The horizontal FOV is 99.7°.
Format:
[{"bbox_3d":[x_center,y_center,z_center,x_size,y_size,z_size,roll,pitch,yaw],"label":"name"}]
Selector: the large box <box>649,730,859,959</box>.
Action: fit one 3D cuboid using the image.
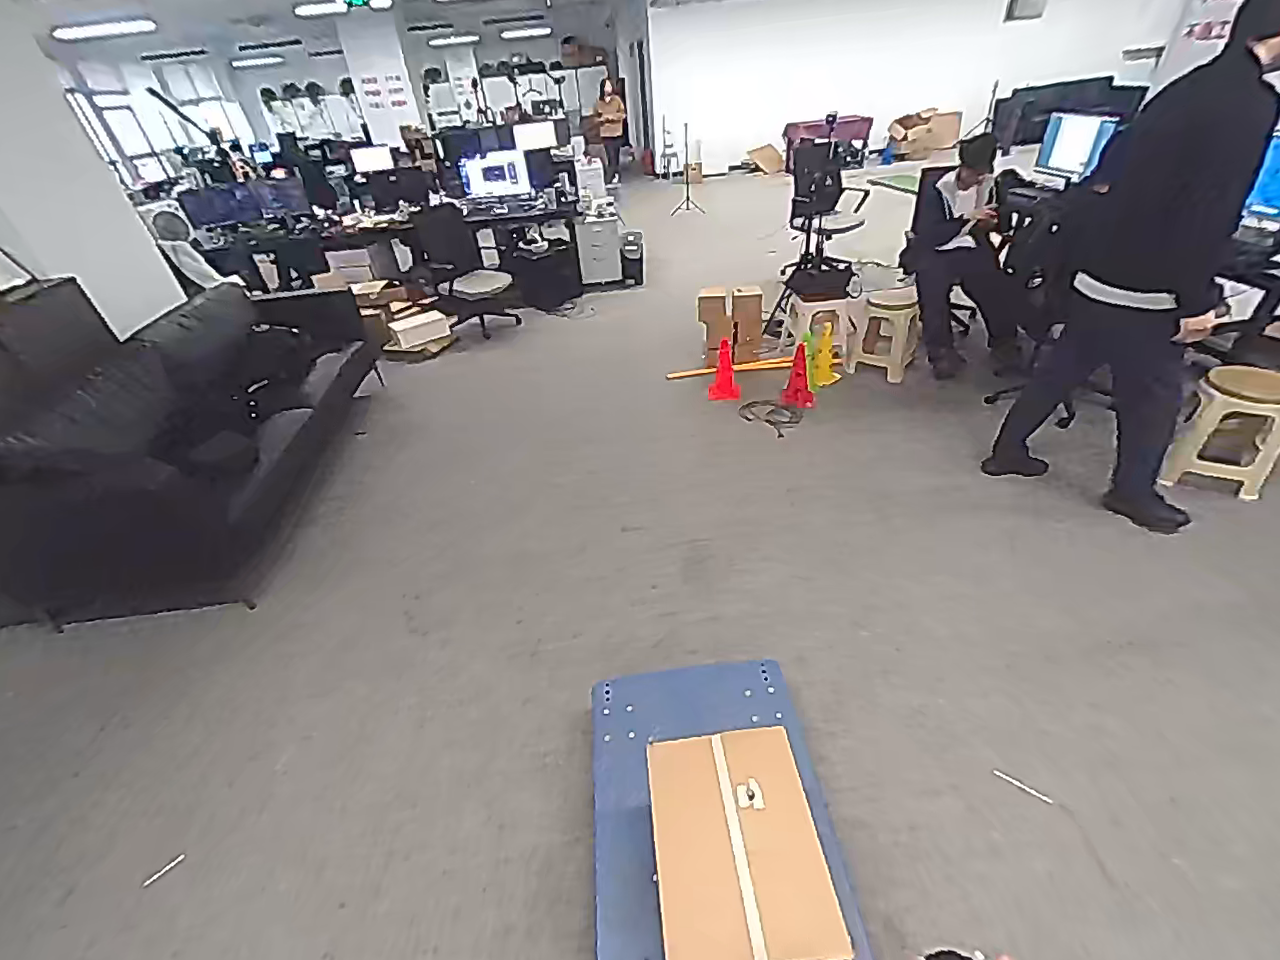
[{"bbox_3d":[0.205,0.805,1.115,0.320,0.320,0.408,-7,35,-1],"label":"large box"}]
